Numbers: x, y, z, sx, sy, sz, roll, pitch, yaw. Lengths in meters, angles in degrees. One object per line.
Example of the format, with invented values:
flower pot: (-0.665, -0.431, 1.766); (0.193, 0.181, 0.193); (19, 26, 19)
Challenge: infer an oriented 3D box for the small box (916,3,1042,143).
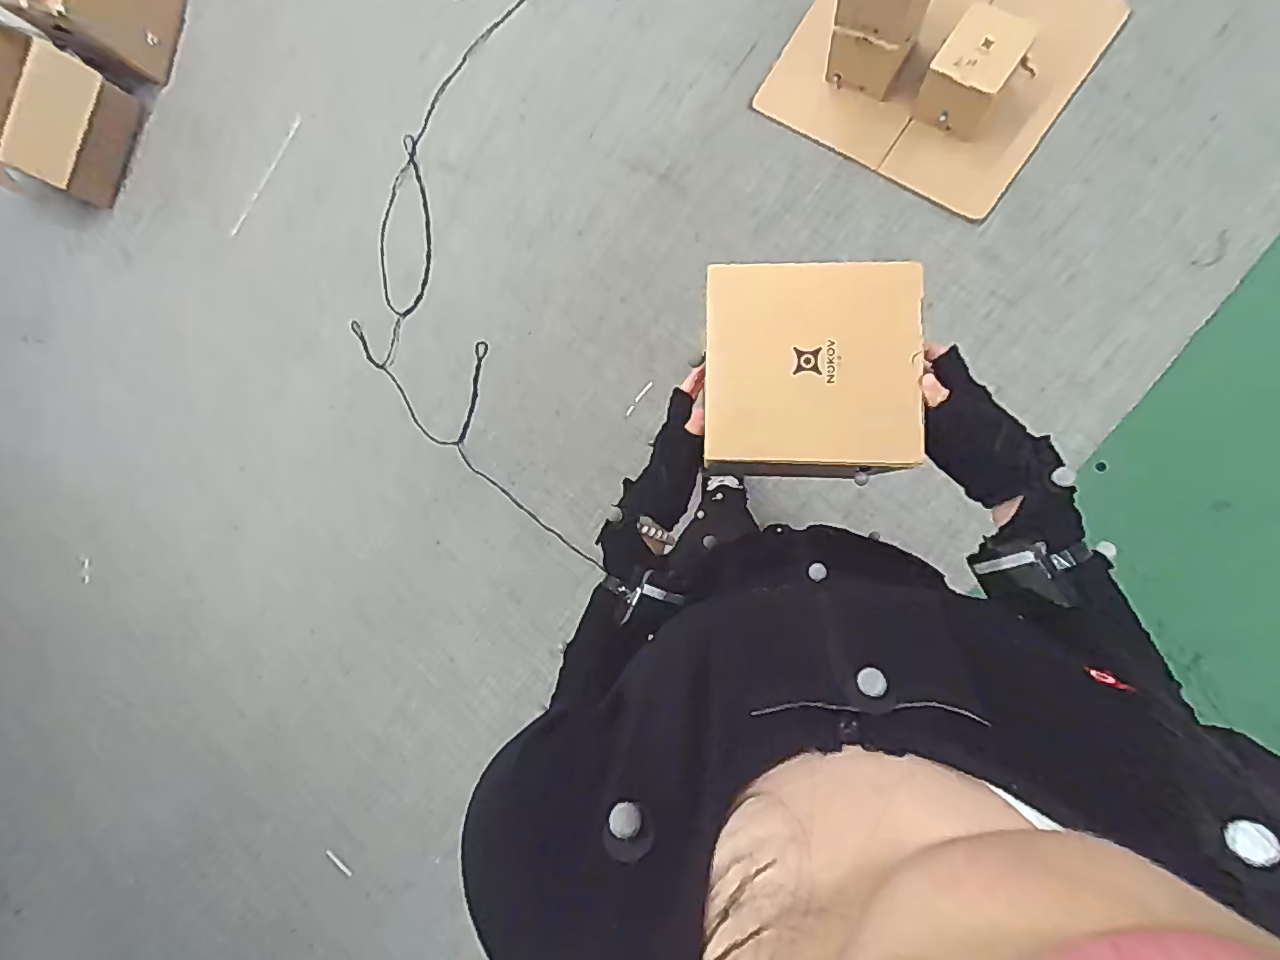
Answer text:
small box: (0.797, -0.965, 1.296); (0.168, 0.176, 0.179); (35, 96, 12)

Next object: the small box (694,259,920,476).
small box: (0.142, -0.092, 0.515); (0.179, 0.176, 0.168); (2, 86, 4)

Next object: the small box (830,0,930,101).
small box: (0.590, -1.099, 1.344); (0.168, 0.176, 0.179); (31, 95, 12)
